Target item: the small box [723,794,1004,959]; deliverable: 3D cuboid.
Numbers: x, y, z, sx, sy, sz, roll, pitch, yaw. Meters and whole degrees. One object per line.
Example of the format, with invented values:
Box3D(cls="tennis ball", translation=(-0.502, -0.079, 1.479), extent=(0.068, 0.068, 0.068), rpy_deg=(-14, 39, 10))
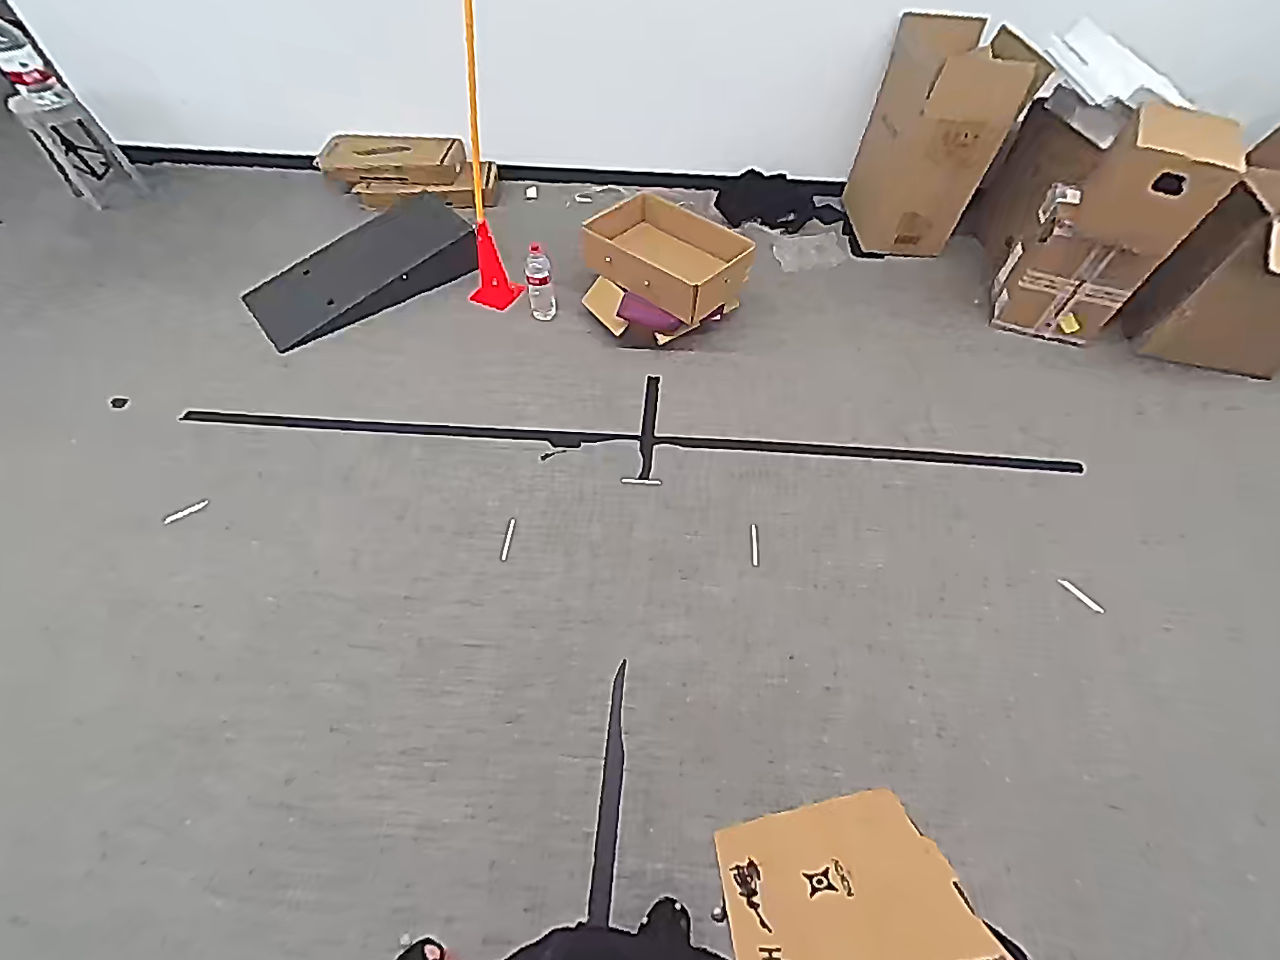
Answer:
Box3D(cls="small box", translation=(0.181, 0.409, 0.451), extent=(0.179, 0.168, 0.176), rpy_deg=(-14, 94, 1))
